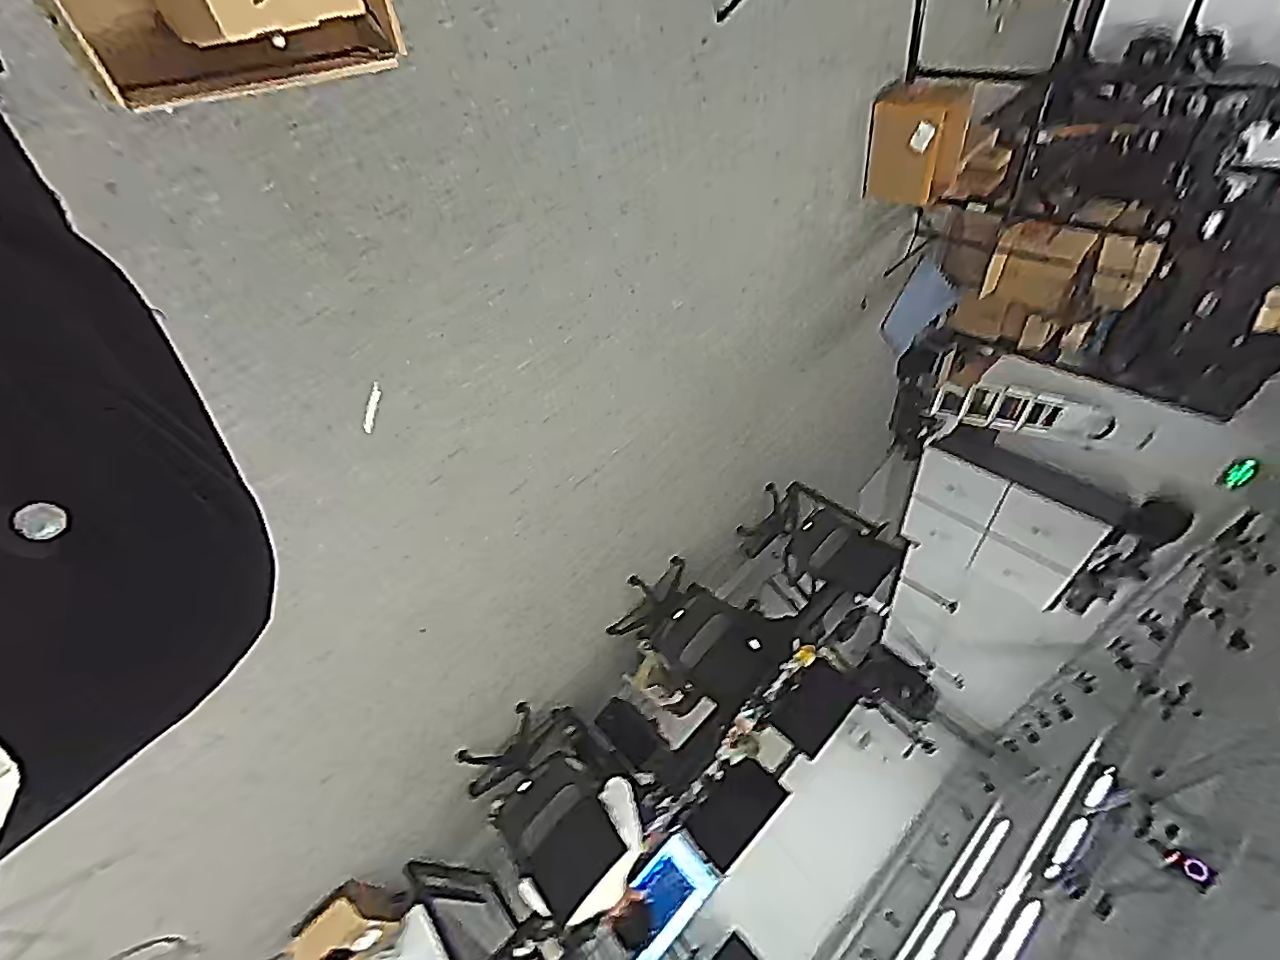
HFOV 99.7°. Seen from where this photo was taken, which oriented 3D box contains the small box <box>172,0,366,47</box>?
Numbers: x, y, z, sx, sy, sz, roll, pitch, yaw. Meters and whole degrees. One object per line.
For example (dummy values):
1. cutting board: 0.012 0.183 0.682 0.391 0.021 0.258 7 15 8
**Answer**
1. small box: -0.453 -0.611 0.604 0.168 0.176 0.179 -37 140 -24
